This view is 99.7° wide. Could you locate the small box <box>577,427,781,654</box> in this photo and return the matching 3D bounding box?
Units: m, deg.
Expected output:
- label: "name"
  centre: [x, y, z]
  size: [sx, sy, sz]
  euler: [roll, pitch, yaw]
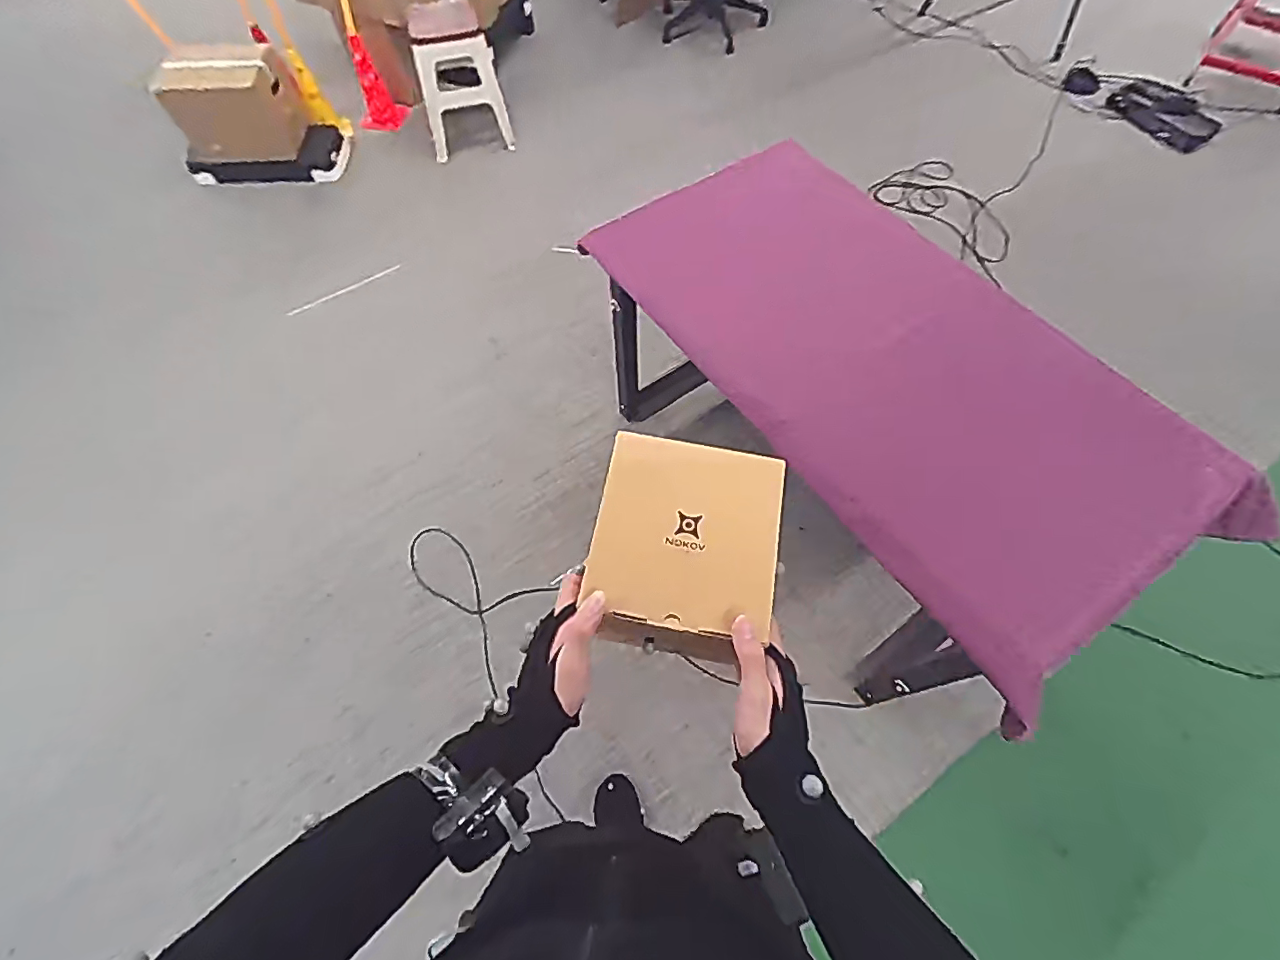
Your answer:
- label: "small box"
  centre: [0.036, 0.072, 0.561]
  size: [0.168, 0.176, 0.179]
  euler: [10, 68, 2]
